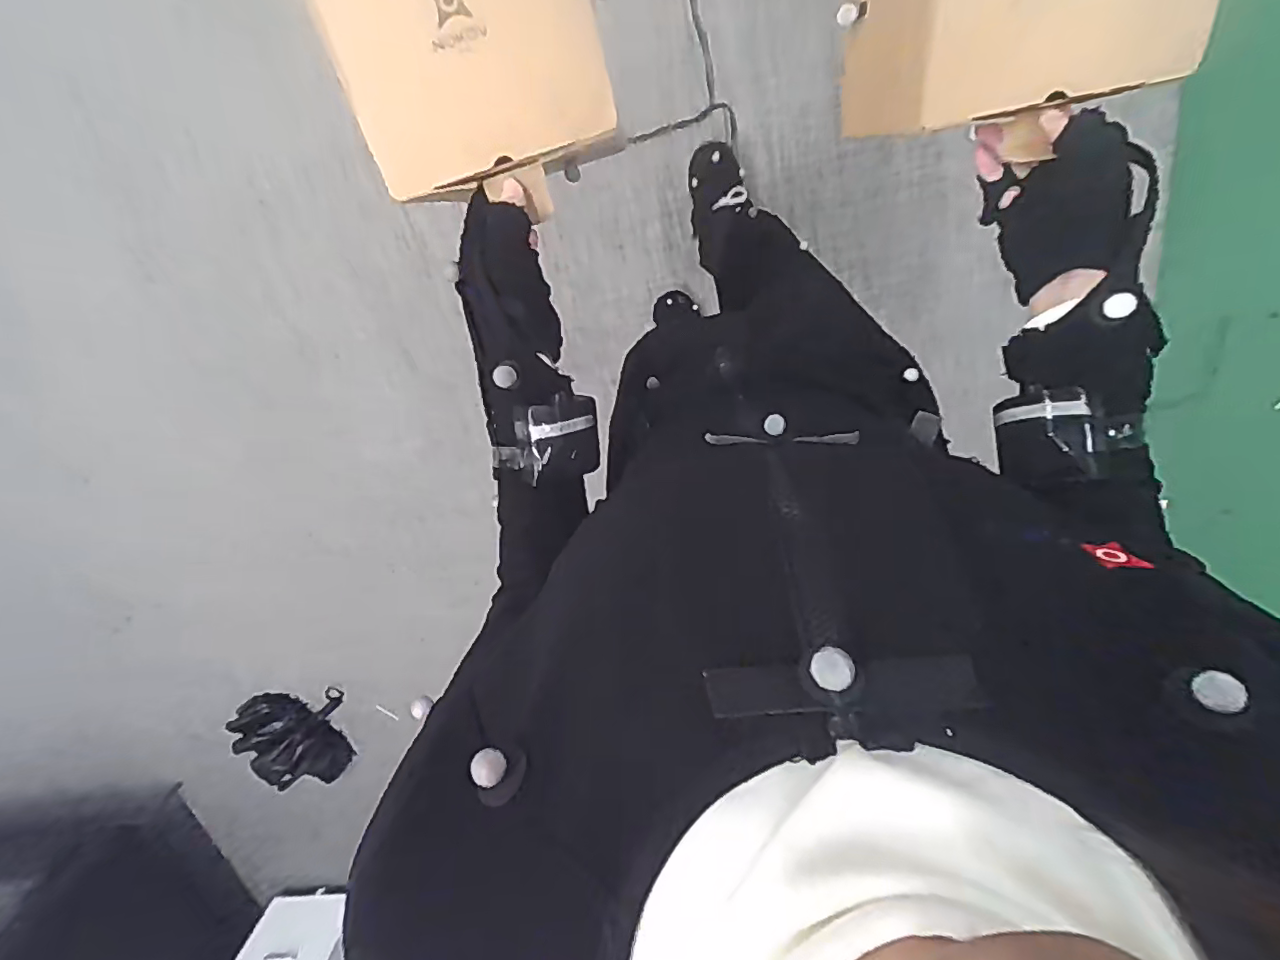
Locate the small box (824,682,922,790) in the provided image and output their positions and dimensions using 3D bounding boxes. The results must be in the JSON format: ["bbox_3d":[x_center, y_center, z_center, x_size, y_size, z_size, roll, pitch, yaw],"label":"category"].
[{"bbox_3d":[0.539,0.598,1.276,0.179,0.176,0.168,-4,108,6],"label":"small box"}]

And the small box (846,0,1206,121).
[{"bbox_3d":[0.253,-0.365,0.375,0.168,0.176,0.179,-8,121,4],"label":"small box"}]

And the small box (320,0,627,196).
[{"bbox_3d":[-0.108,-0.327,0.397,0.168,0.176,0.179,-15,116,7],"label":"small box"}]
